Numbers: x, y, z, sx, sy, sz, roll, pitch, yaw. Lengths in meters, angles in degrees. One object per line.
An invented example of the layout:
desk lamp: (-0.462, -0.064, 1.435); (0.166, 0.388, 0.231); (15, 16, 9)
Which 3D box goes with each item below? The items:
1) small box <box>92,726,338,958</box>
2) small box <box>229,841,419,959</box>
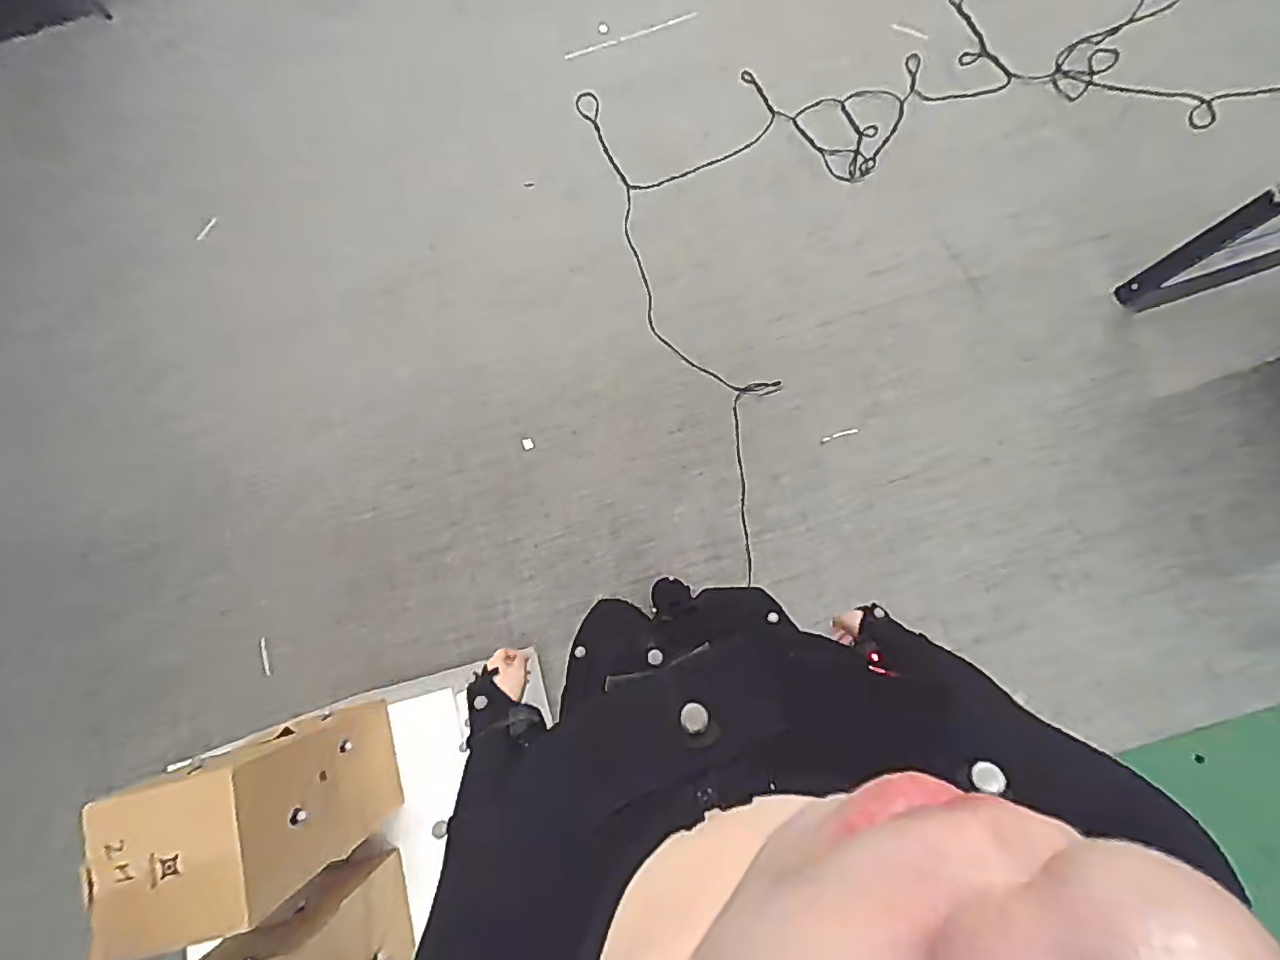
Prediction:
small box: (-0.502, 0.423, 0.666); (0.179, 0.176, 0.168); (-15, 80, 2)
small box: (-0.446, 0.675, 0.788); (0.168, 0.176, 0.179); (-16, 79, 1)
